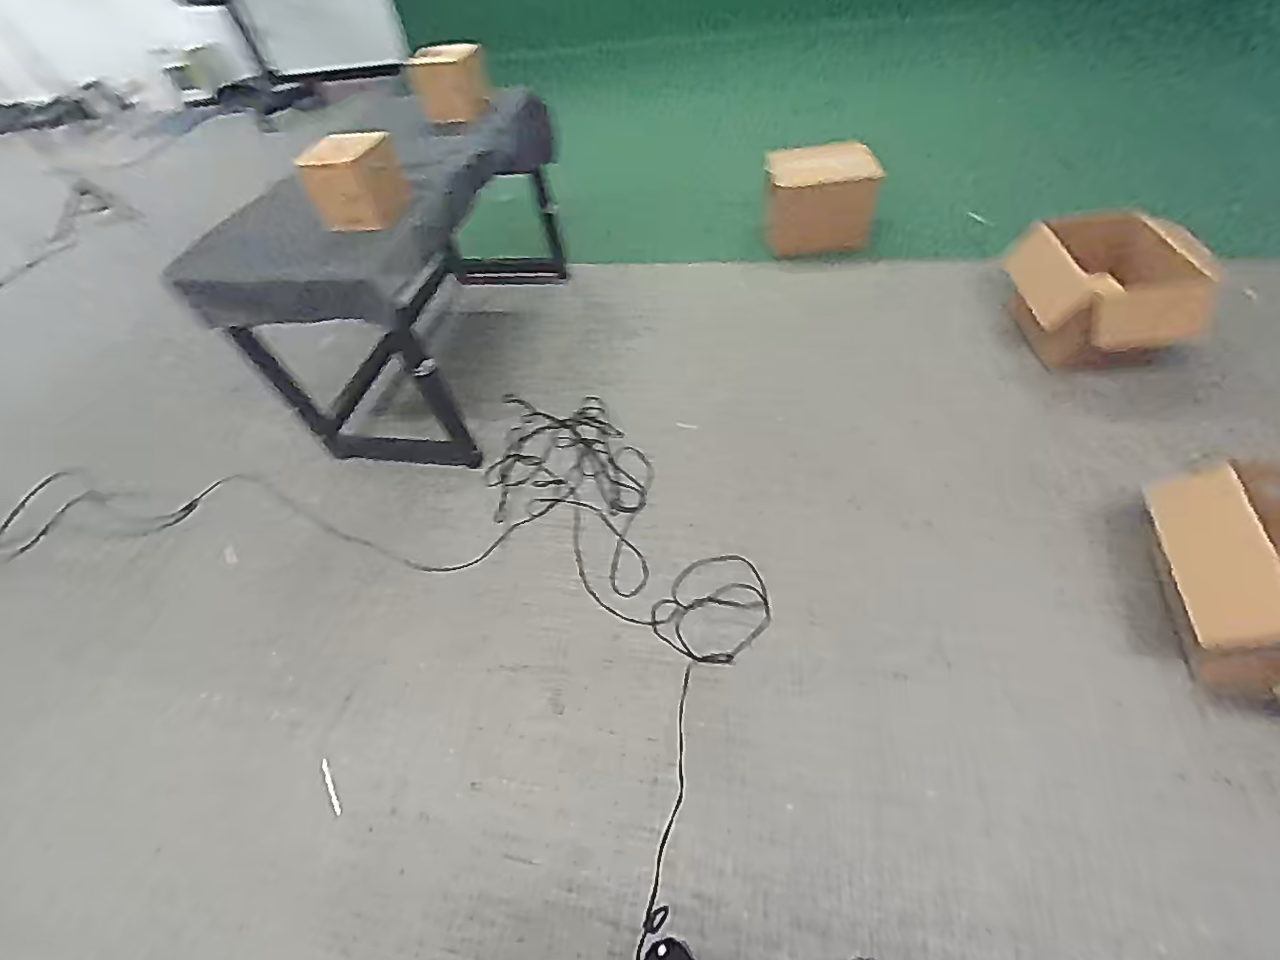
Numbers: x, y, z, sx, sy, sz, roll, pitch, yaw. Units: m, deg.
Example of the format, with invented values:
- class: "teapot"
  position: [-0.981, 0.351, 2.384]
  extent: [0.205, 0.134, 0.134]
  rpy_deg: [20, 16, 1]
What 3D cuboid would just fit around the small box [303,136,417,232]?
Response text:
- class: "small box"
  position: [-0.709, -0.760, 1.395]
  extent: [0.168, 0.176, 0.179]
  rpy_deg: [7, 52, 13]
